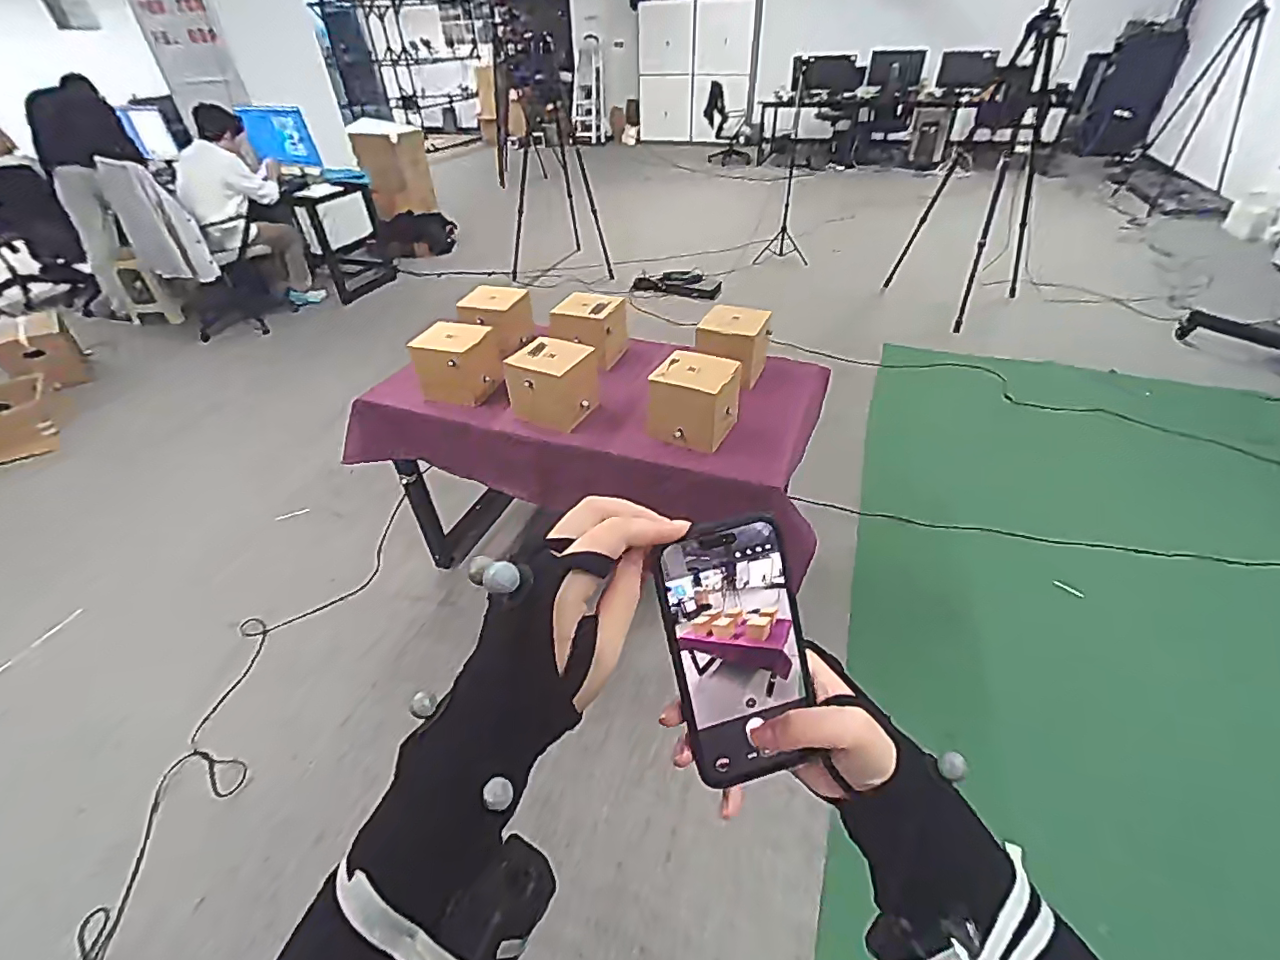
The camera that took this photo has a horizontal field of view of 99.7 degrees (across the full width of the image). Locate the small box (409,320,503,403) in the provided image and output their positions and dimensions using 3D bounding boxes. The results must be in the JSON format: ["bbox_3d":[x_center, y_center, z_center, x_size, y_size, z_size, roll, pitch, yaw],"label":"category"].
[{"bbox_3d":[-0.507,-0.332,1.516,0.179,0.176,0.168,10,41,12],"label":"small box"}]

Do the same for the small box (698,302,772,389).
[{"bbox_3d":[0.265,-0.384,1.540,0.168,0.176,0.179,15,44,20],"label":"small box"}]

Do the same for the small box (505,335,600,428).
[{"bbox_3d":[-0.221,-0.257,1.411,0.179,0.176,0.168,18,44,21],"label":"small box"}]

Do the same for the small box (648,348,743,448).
[{"bbox_3d":[0.134,-0.198,1.324,0.179,0.176,0.168,18,44,22],"label":"small box"}]
